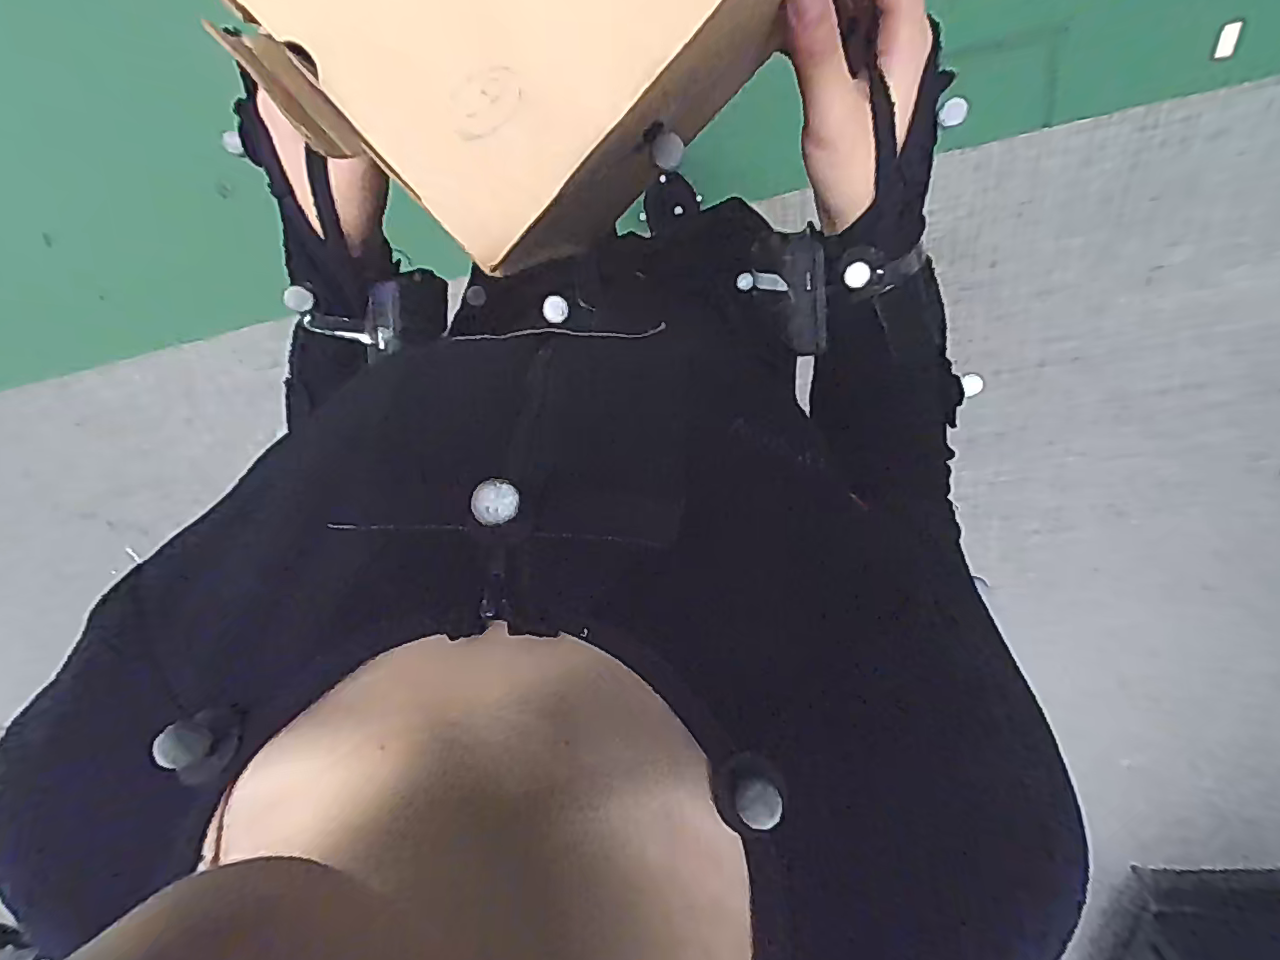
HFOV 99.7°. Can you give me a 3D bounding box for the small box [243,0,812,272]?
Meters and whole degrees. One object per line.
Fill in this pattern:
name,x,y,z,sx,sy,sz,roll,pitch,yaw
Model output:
small box,-0.032,-0.217,0.225,0.179,0.176,0.168,-38,106,23
